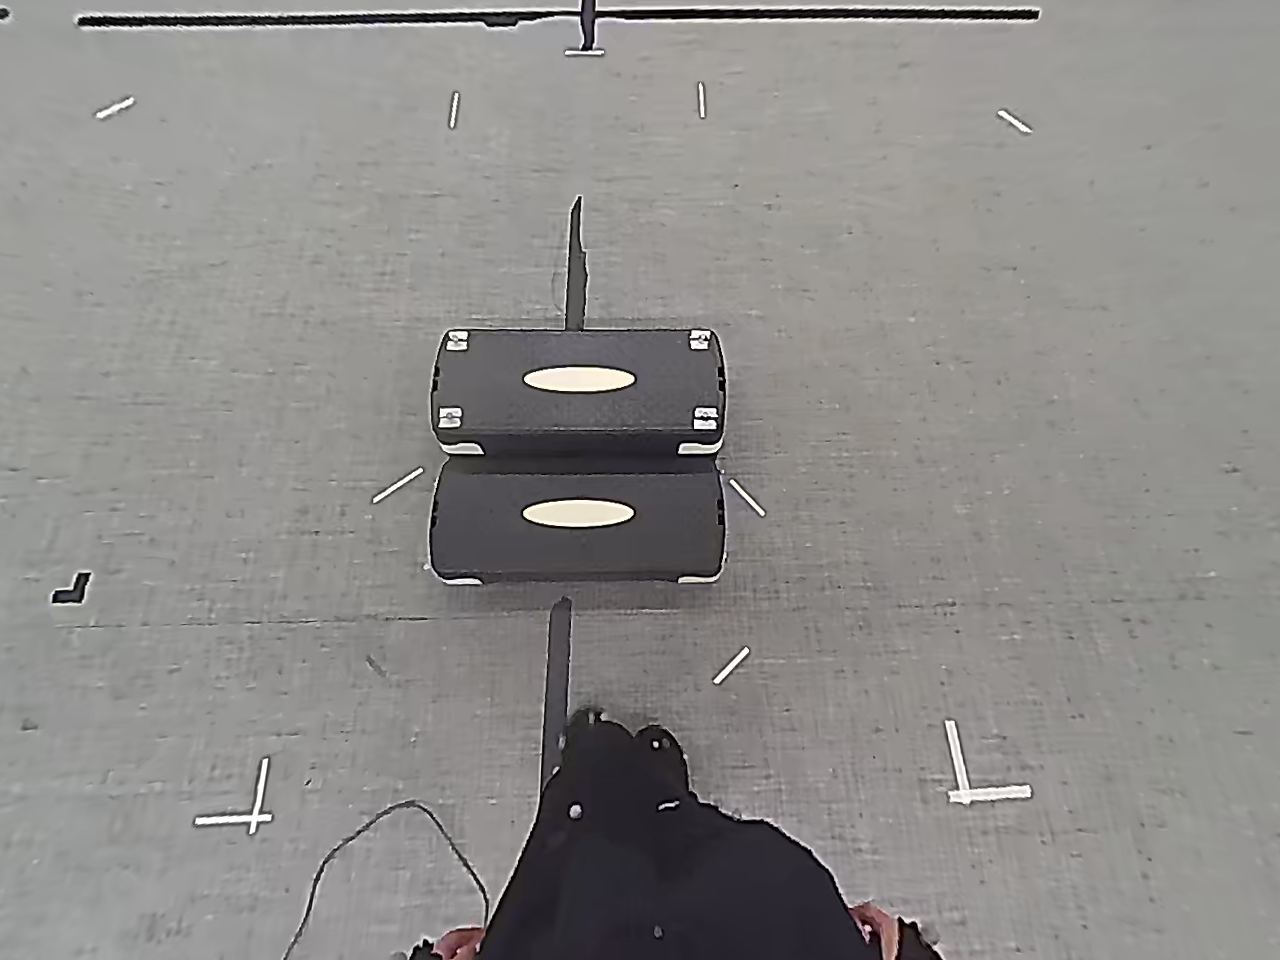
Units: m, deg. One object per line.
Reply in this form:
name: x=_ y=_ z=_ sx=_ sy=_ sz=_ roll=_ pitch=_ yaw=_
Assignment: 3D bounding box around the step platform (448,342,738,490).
step platform: x=-0.107 y=-0.156 z=1.317 sx=0.684 sy=0.204 sz=0.286 roll=4 pitch=70 yaw=0
